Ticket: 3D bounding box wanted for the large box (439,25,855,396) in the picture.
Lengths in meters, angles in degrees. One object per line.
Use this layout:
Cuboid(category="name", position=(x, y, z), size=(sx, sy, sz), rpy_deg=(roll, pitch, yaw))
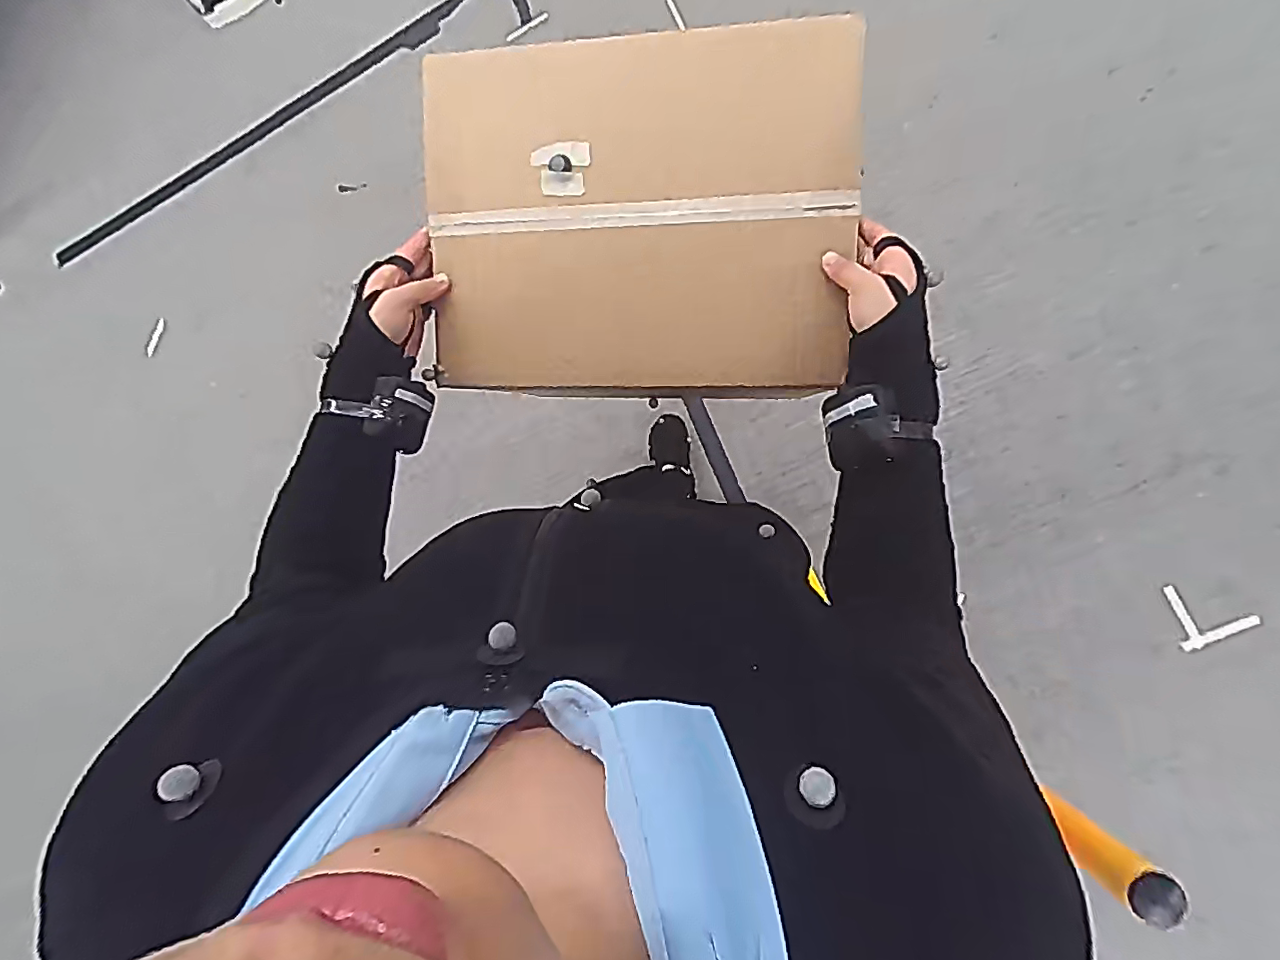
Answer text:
Cuboid(category="large box", position=(0.022, -0.266, 0.667), size=(0.408, 0.320, 0.320), rpy_deg=(1, 95, 9))
